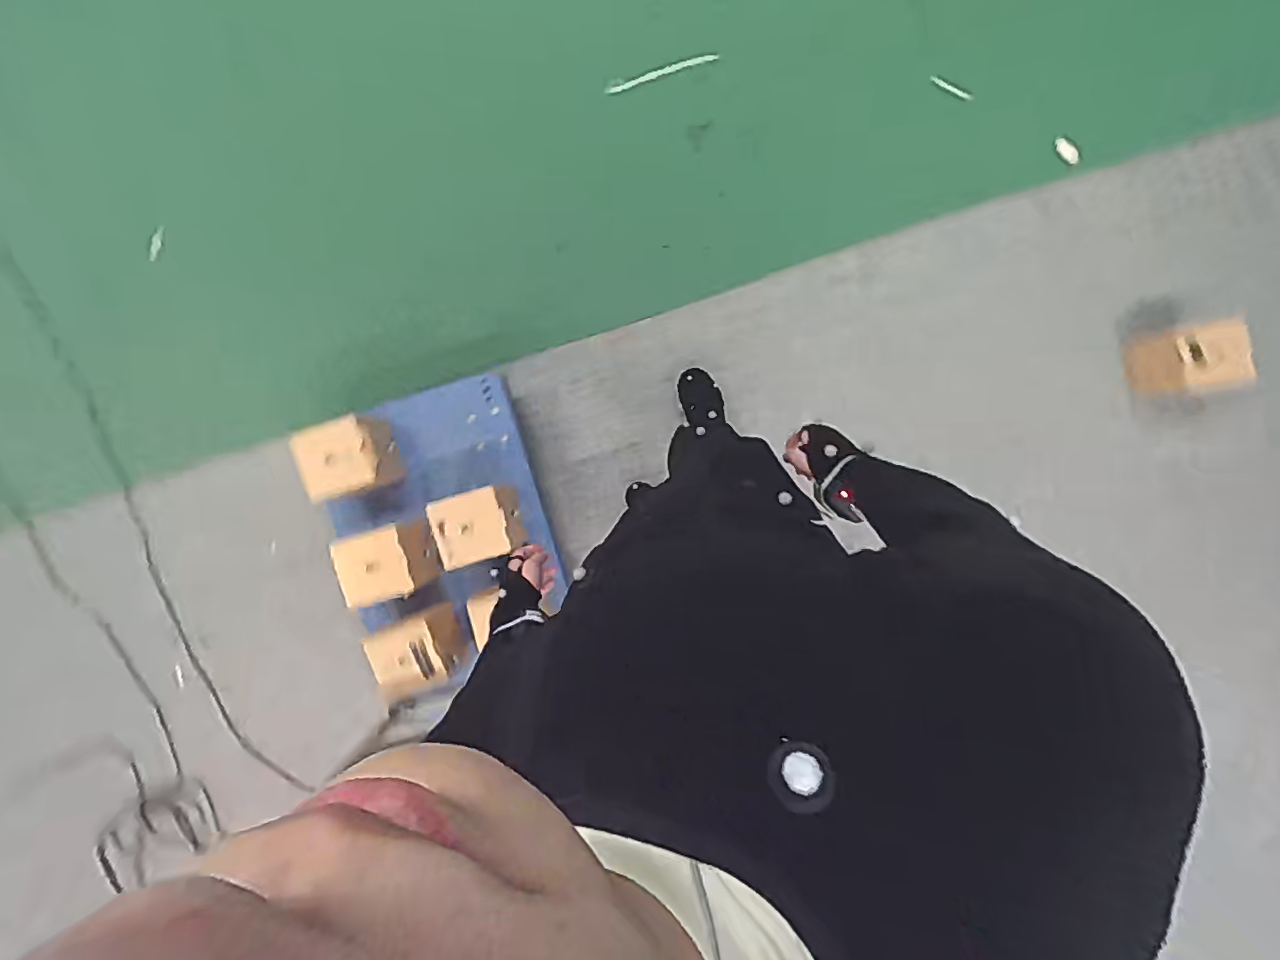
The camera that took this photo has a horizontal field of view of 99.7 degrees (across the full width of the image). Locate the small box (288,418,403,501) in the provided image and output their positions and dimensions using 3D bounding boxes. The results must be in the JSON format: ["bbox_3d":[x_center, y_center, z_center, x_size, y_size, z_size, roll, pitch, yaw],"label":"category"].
[{"bbox_3d":[-0.747,-0.053,1.388,0.179,0.176,0.168,-18,93,3],"label":"small box"}]

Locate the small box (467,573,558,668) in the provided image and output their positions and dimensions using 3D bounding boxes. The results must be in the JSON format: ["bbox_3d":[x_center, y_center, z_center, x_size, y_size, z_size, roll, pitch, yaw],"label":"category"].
[{"bbox_3d":[-0.320,0.356,1.396,0.168,0.176,0.179,-15,91,3],"label":"small box"}]

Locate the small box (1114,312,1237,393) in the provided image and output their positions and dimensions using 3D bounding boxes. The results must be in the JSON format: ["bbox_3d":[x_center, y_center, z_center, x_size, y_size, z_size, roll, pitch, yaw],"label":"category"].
[{"bbox_3d":[1.456,-0.343,1.486,0.179,0.176,0.168,-13,93,2],"label":"small box"}]

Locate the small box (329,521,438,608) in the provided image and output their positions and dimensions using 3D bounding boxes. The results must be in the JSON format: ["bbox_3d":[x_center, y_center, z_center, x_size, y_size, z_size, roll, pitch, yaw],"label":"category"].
[{"bbox_3d":[-0.658,0.212,1.403,0.179,0.176,0.168,-17,92,1],"label":"small box"}]

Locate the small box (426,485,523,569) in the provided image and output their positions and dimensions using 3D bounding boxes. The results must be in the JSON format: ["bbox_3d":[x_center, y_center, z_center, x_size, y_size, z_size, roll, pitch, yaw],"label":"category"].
[{"bbox_3d":[-0.413,0.113,1.385,0.179,0.176,0.168,-16,91,3],"label":"small box"}]
